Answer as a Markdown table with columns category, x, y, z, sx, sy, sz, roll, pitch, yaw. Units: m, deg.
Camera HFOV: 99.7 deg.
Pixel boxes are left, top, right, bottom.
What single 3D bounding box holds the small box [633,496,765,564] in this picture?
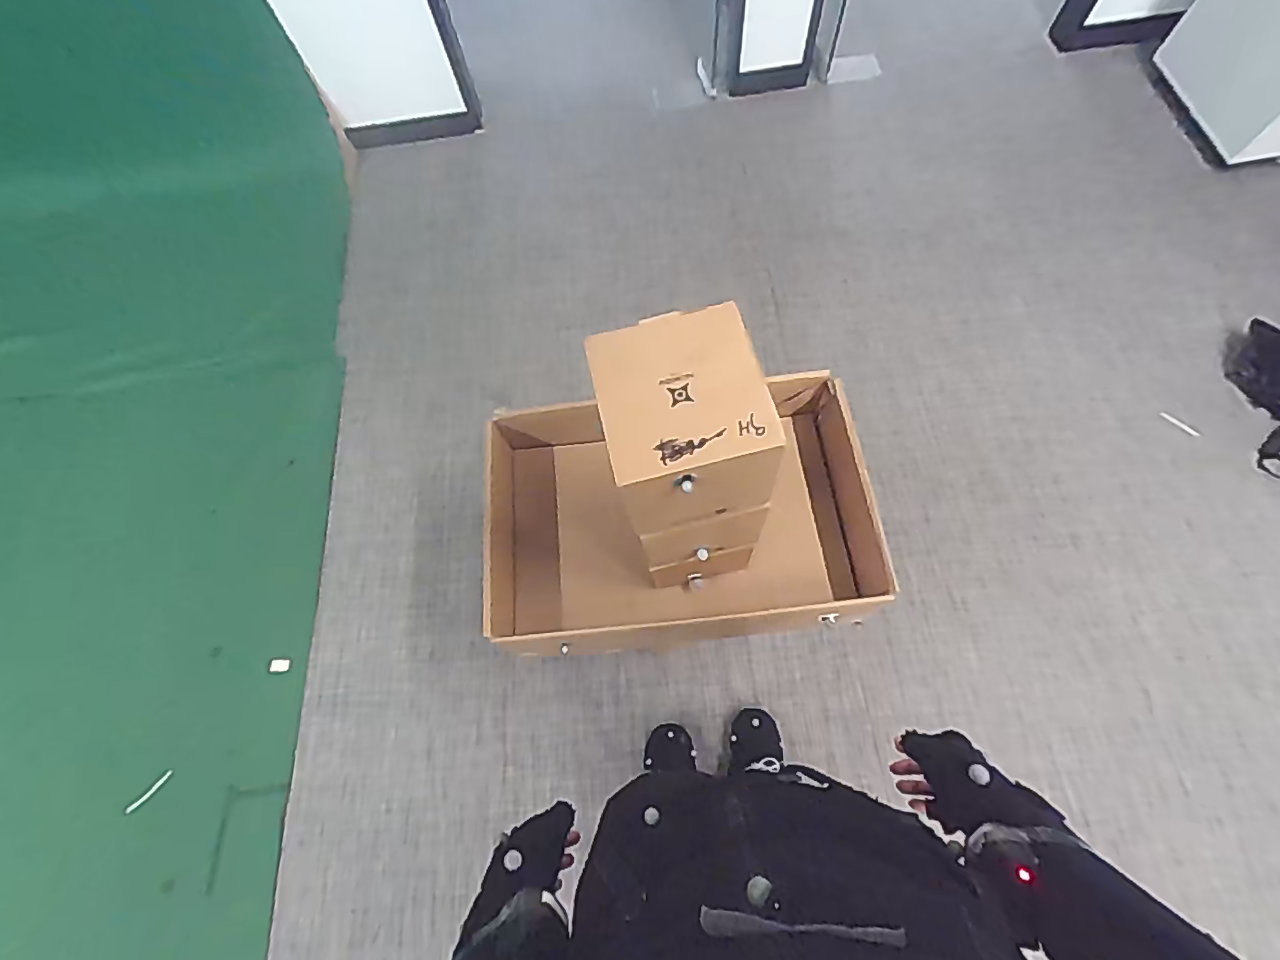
| category | x | y | z | sx | sy | sz | roll | pitch | yaw |
| --- | --- | --- | --- | --- | --- | --- | --- | --- | --- |
| small box | 0.065 | 0.002 | 0.763 | 0.168 | 0.176 | 0.179 | -14 | 68 | 1 |

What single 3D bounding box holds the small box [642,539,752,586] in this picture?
| category | x | y | z | sx | sy | sz | roll | pitch | yaw |
| --- | --- | --- | --- | --- | --- | --- | --- | --- | --- |
| small box | 0.079 | 0.065 | 0.914 | 0.168 | 0.176 | 0.179 | -14 | 68 | 1 |

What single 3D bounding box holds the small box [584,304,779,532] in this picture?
| category | x | y | z | sx | sy | sz | roll | pitch | yaw |
| --- | --- | --- | --- | --- | --- | --- | --- | --- | --- |
| small box | 0.044 | -0.061 | 0.613 | 0.168 | 0.176 | 0.179 | -15 | 66 | 2 |
